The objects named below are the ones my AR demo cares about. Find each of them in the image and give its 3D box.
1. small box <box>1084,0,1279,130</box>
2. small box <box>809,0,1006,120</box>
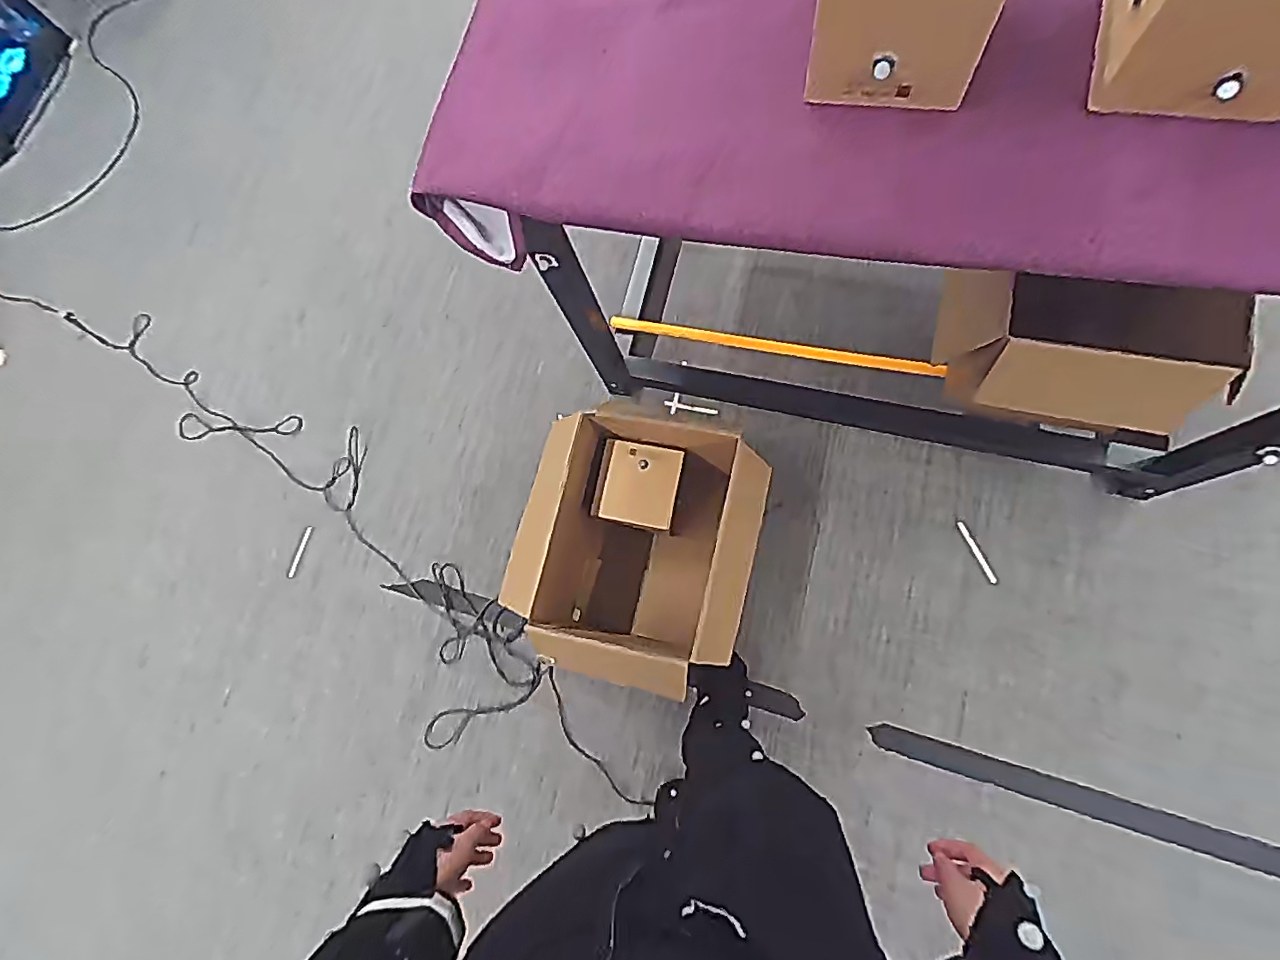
[{"bbox_3d":[0.552,-0.456,0.484,0.179,0.176,0.168,14,77,14],"label":"small box"},{"bbox_3d":[0.278,-0.516,0.554,0.168,0.176,0.179,12,79,13],"label":"small box"}]
